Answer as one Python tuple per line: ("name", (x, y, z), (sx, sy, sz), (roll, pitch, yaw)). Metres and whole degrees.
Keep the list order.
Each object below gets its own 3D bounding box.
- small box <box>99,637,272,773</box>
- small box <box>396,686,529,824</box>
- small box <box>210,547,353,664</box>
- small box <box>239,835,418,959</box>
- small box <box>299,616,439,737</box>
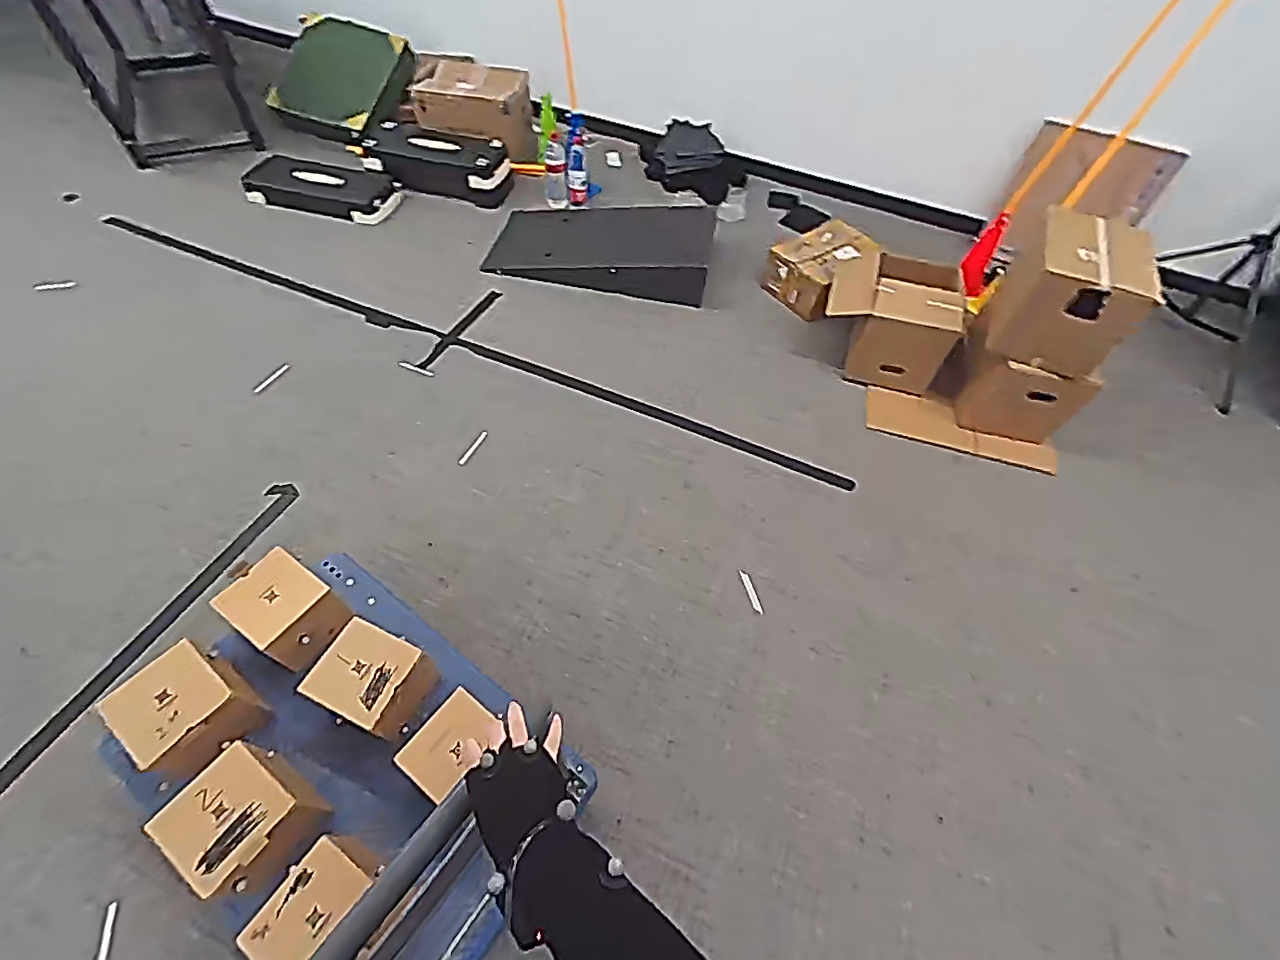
("small box", (-0.887, 0.452, 1.072), (0.179, 0.176, 0.168), (35, 59, 17))
("small box", (-0.337, 0.545, 1.066), (0.179, 0.176, 0.168), (33, 58, 17))
("small box", (-0.780, 0.286, 1.200), (0.179, 0.176, 0.168), (31, 58, 15))
("small box", (-0.508, 0.735, 0.914), (0.179, 0.176, 0.168), (30, 57, 14))
("small box", (-0.551, 0.417, 1.131), (0.179, 0.176, 0.168), (22, 56, 11))
